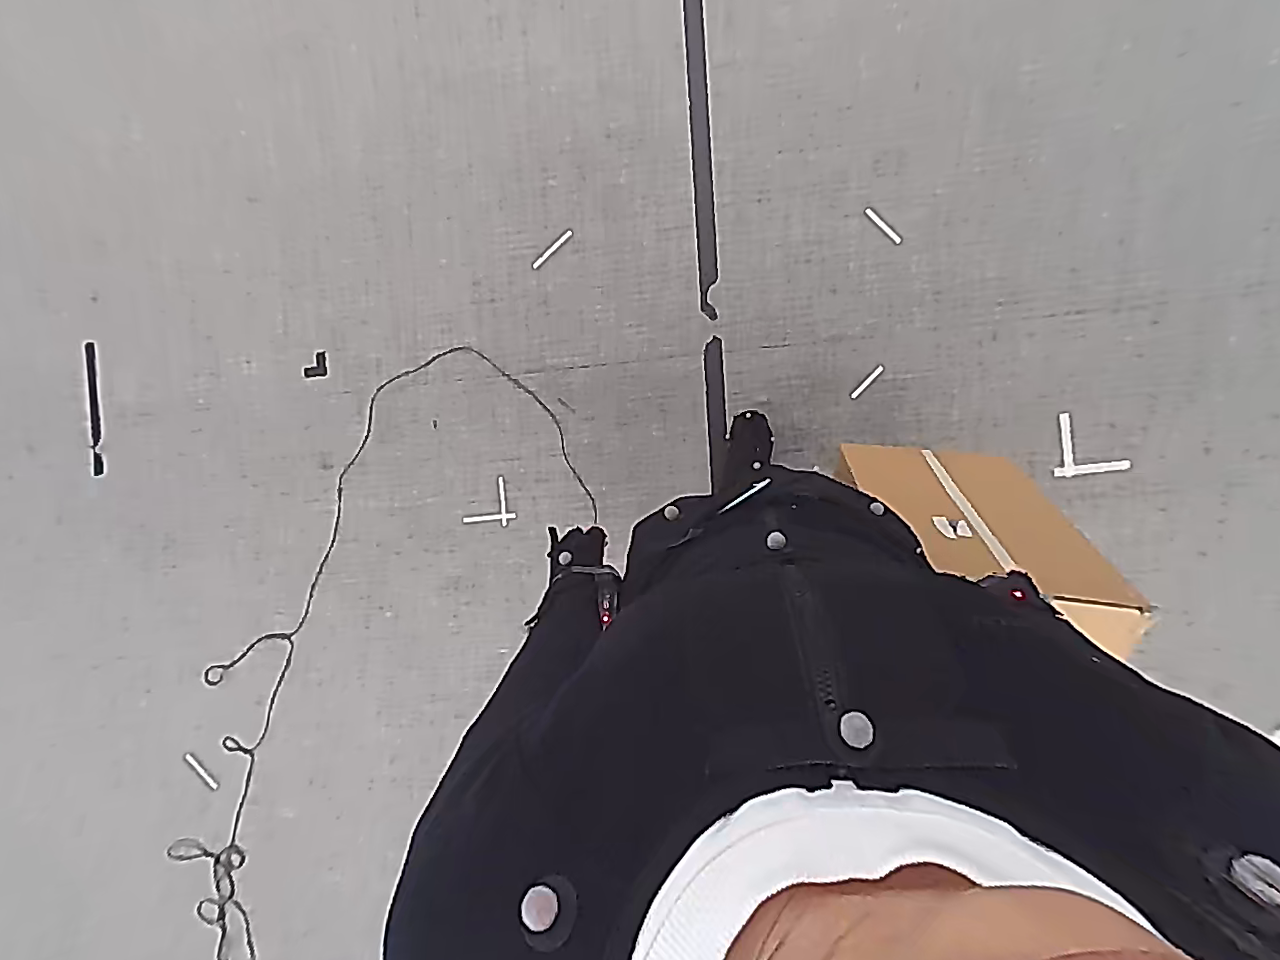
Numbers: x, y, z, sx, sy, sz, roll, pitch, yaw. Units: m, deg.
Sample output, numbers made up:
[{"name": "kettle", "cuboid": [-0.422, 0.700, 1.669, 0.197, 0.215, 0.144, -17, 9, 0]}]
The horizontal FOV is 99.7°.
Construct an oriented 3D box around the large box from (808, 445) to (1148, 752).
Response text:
[{"name": "large box", "cuboid": [0.504, 0.178, 0.936, 0.320, 0.408, 0.320, 5, 122, 5]}]
